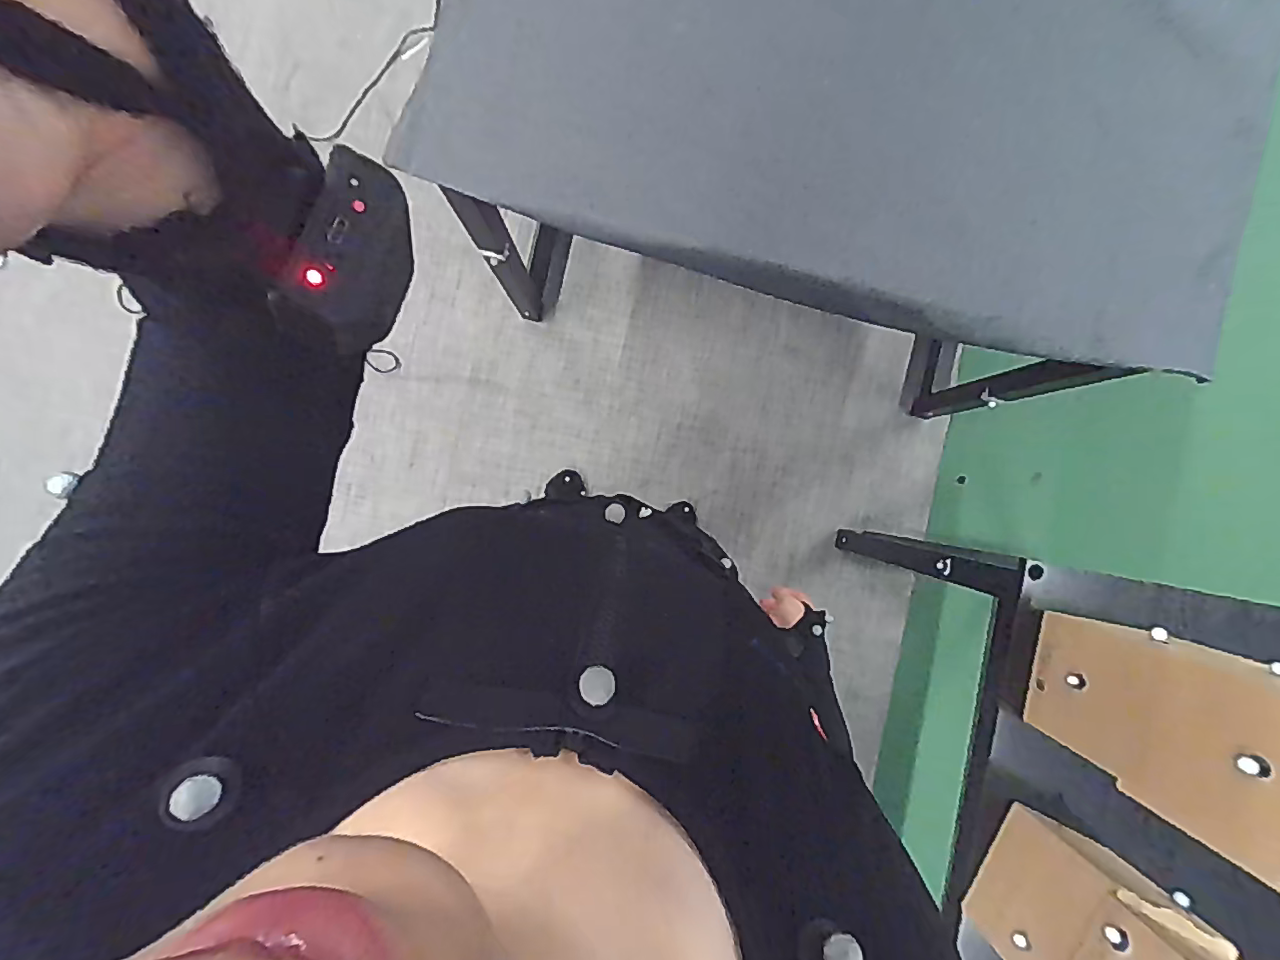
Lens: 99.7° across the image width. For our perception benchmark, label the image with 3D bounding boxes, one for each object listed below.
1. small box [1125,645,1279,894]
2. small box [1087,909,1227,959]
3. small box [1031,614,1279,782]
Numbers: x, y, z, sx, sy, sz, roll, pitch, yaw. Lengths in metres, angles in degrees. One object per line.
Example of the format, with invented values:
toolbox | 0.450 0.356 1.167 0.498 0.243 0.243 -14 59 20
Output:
small box | 0.643 0.286 0.537 0.168 0.176 0.179 11 90 -1
small box | 0.573 0.584 0.534 0.179 0.176 0.168 30 90 -2
small box | 0.657 0.283 0.700 0.179 0.176 0.168 11 91 -1
